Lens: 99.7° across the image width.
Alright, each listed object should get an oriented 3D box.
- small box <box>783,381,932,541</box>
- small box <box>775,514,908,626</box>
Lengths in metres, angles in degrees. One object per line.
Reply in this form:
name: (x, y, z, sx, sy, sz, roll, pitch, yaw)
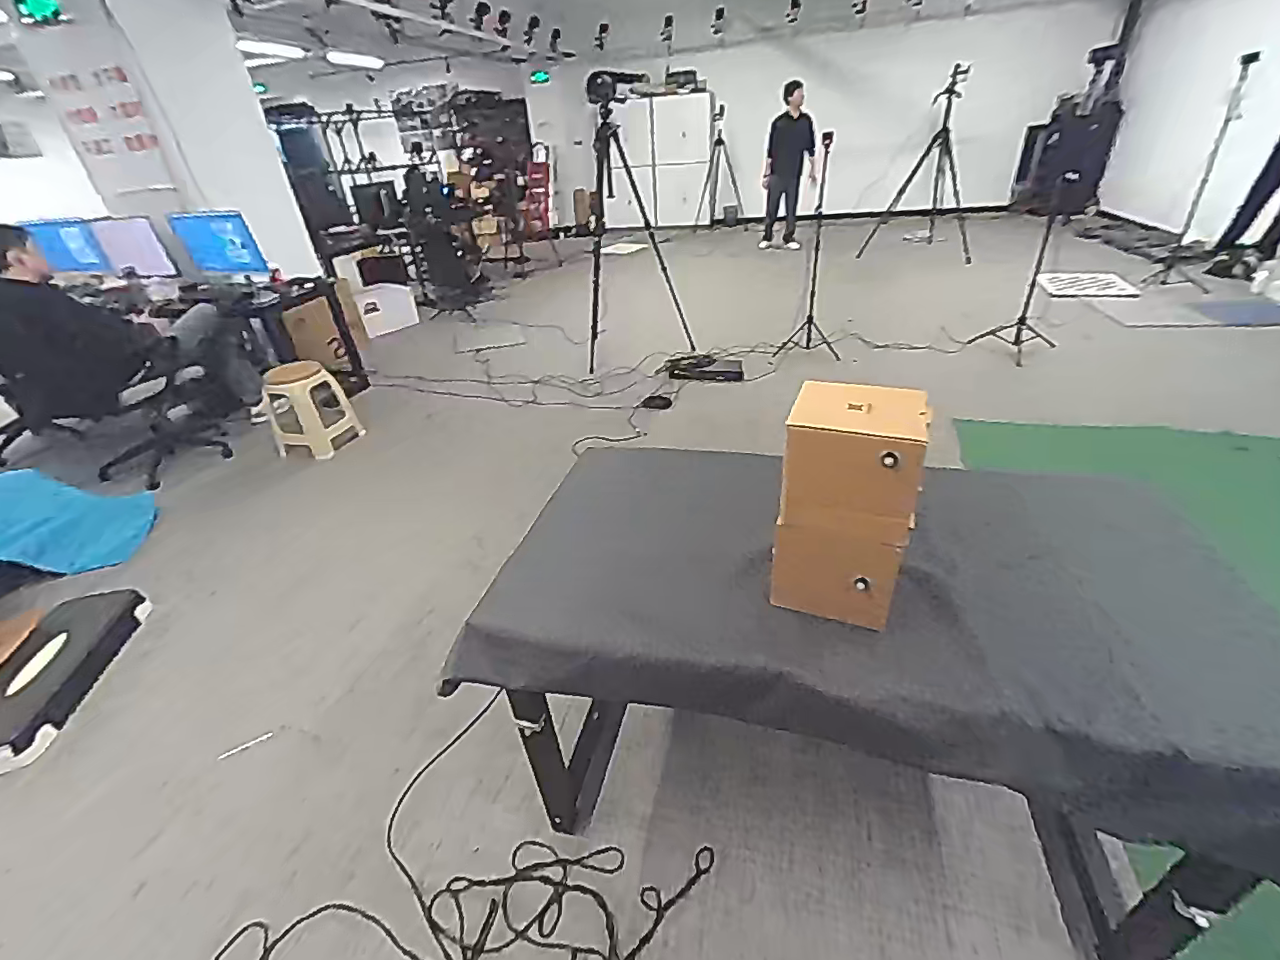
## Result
small box: (0.313, -0.031, 0.789, 0.179, 0.176, 0.168, 11, 34, 22)
small box: (0.323, 0.109, 0.872, 0.179, 0.176, 0.168, 9, 34, 23)
